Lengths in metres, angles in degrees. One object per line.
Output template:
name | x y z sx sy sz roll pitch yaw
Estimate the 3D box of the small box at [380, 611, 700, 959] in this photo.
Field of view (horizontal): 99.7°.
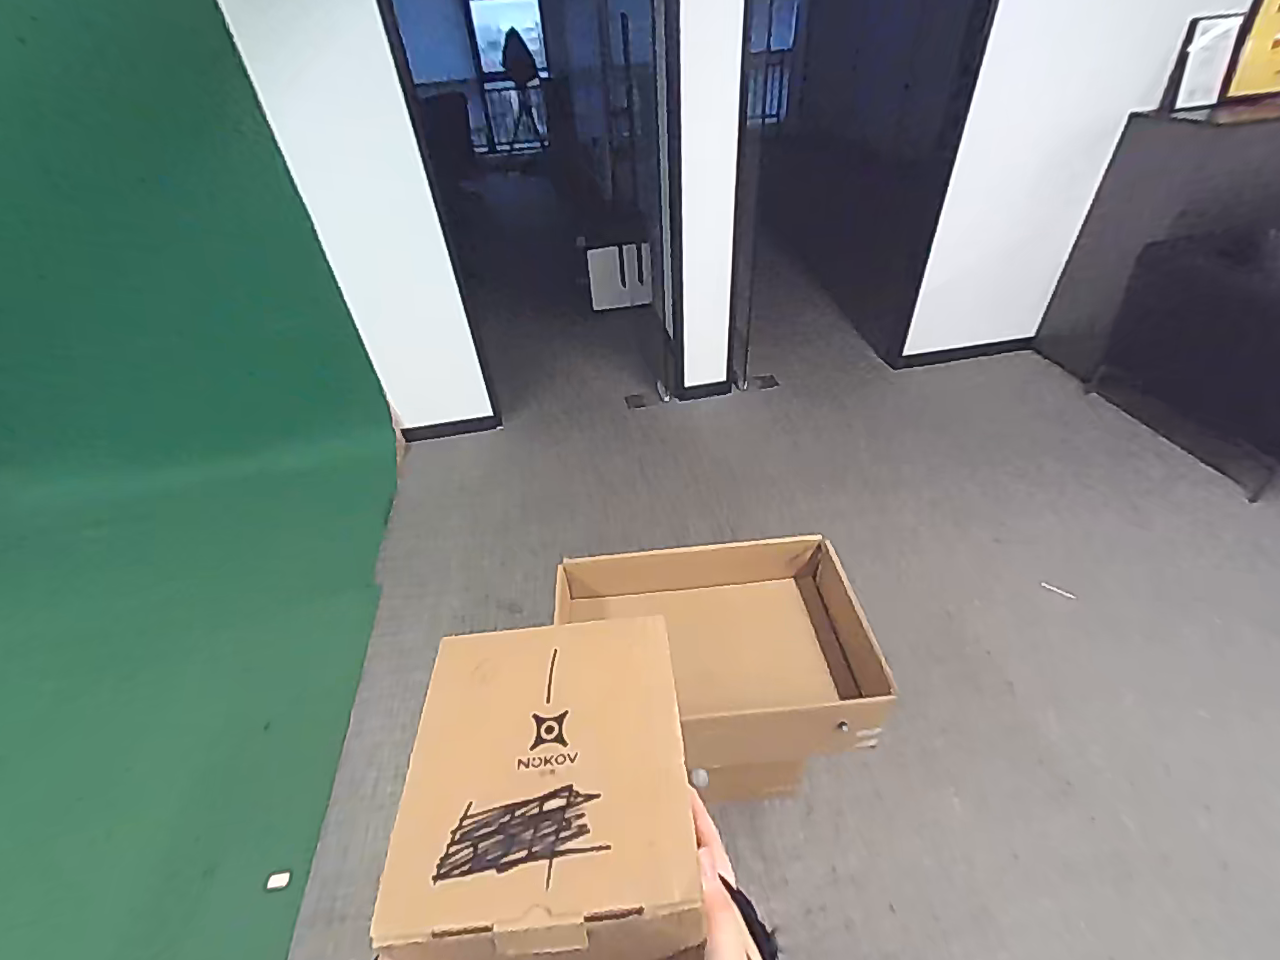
small box | -0.049 0.221 0.383 0.168 0.176 0.179 -5 38 -1
